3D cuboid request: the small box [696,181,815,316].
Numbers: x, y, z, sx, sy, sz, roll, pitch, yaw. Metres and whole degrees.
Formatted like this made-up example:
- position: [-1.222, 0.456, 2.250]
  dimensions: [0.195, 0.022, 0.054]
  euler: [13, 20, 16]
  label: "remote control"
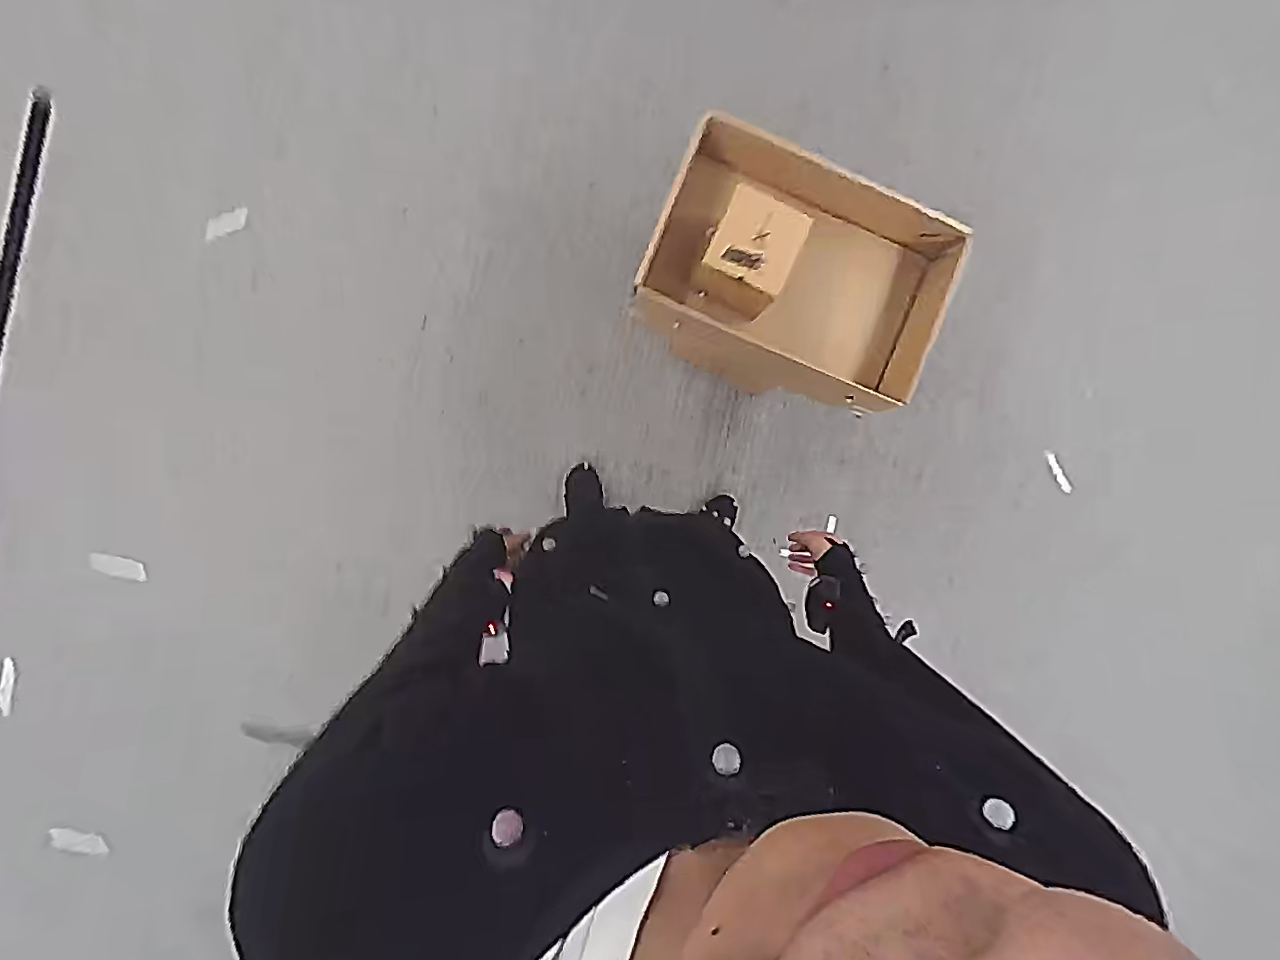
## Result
- position: [0.229, -0.468, 1.129]
  dimensions: [0.168, 0.176, 0.179]
  euler: [25, 89, -5]
  label: "small box"
